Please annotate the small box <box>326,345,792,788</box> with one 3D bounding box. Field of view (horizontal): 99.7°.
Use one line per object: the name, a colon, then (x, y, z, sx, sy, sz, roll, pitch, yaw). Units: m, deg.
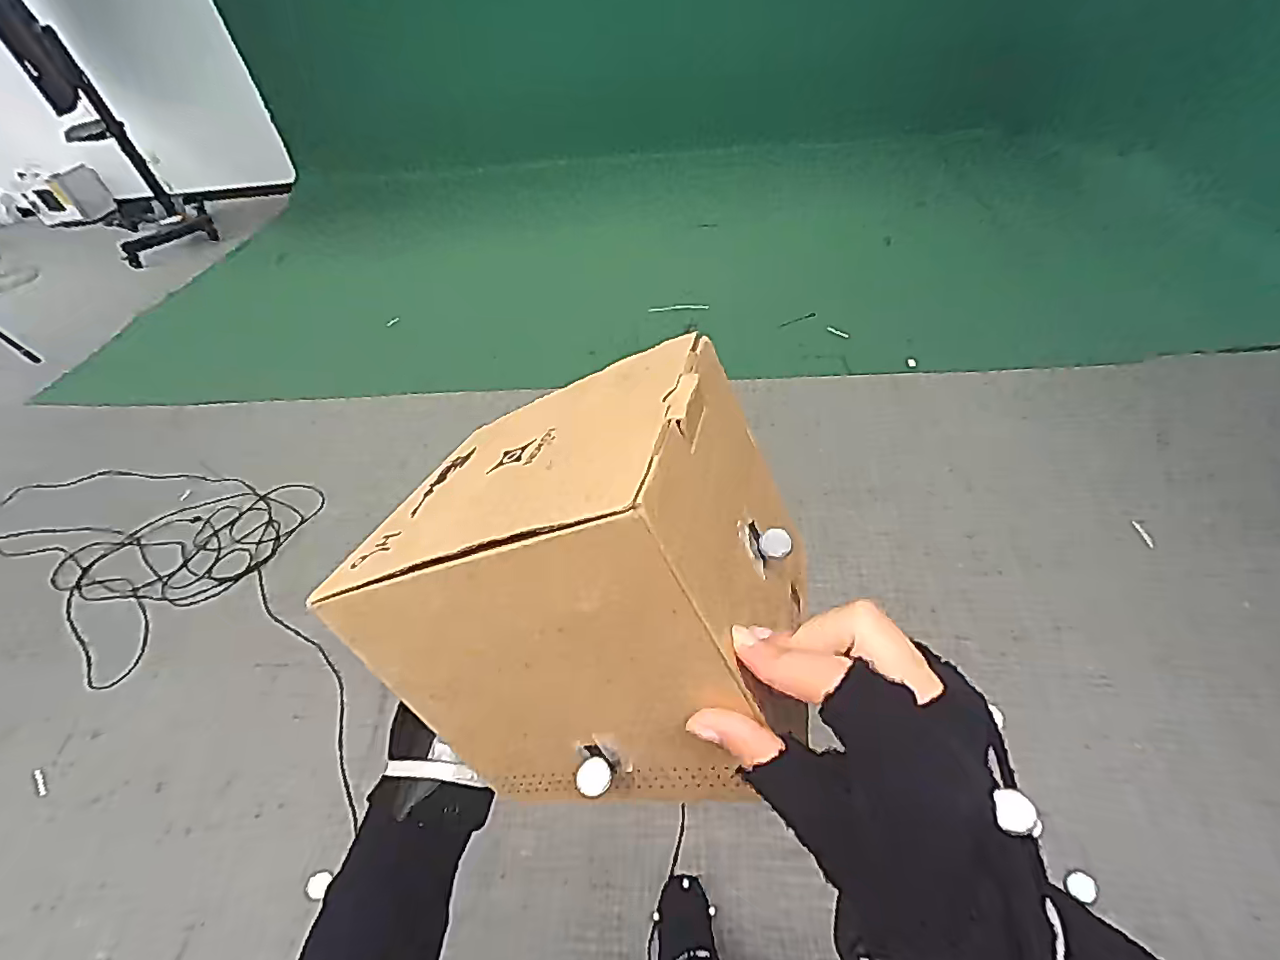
small box: (-0.020, 0.053, 0.314, 0.179, 0.176, 0.168, -17, 27, 26)
